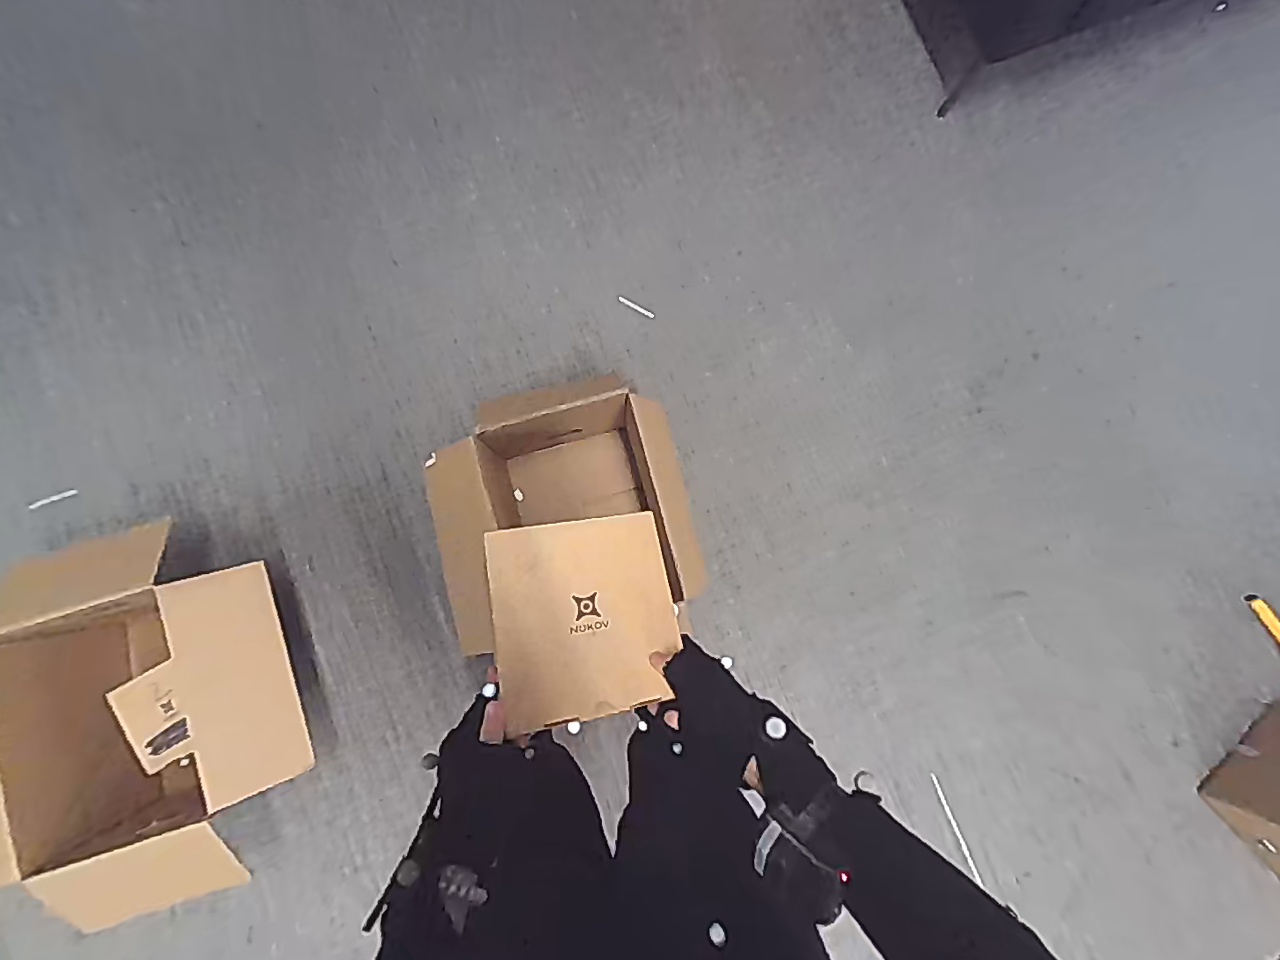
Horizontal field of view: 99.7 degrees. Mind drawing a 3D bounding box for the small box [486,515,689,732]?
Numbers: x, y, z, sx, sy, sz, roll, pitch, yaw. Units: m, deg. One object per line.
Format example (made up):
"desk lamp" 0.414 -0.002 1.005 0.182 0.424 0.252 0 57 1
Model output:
"small box" -0.069 0.152 0.563 0.168 0.176 0.179 -6 69 -18
